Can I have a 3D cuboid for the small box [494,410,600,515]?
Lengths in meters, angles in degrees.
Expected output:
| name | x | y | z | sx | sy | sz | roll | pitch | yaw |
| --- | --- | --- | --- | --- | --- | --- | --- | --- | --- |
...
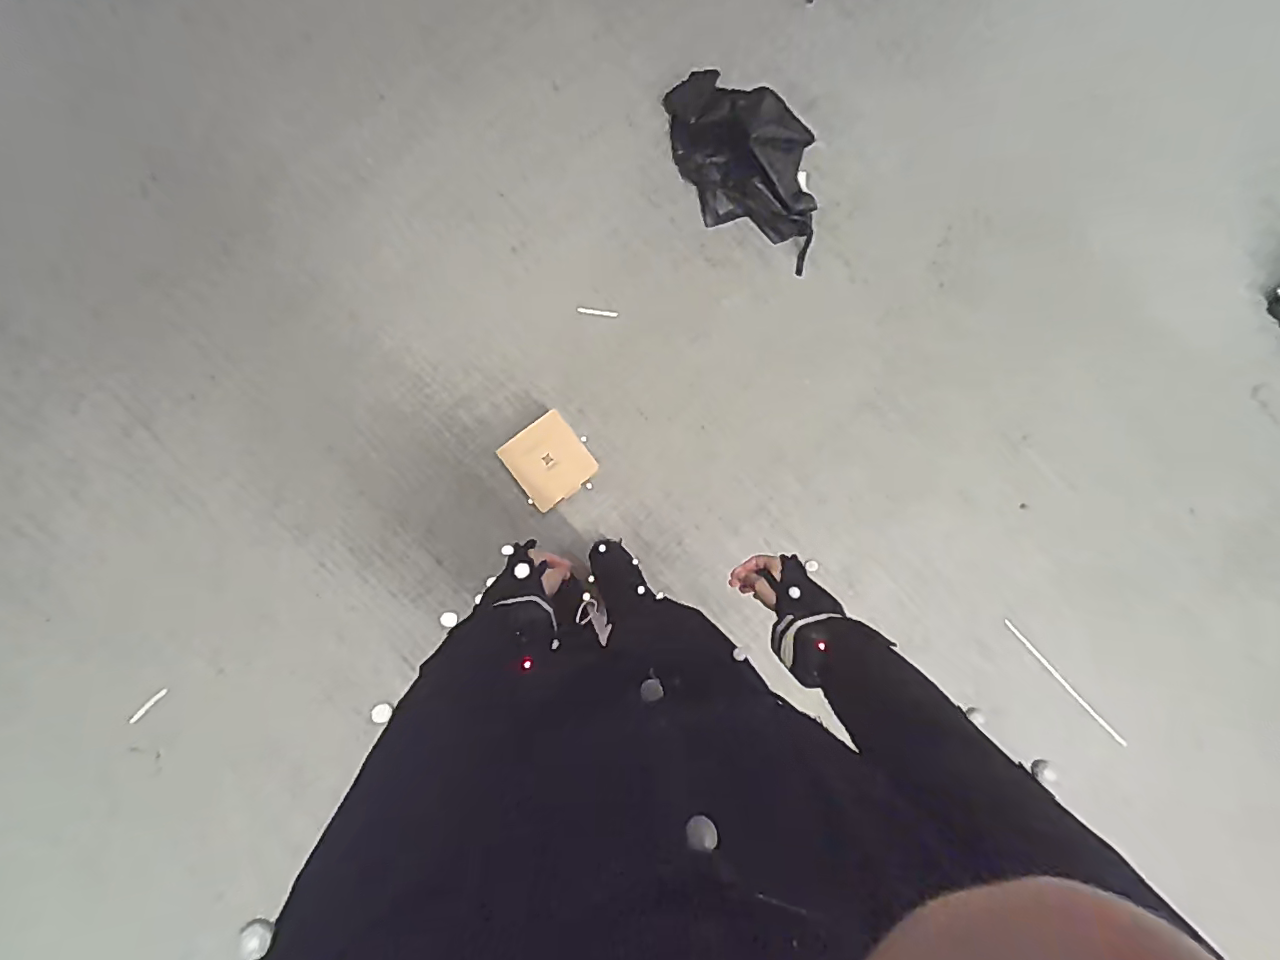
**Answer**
| name | x | y | z | sx | sy | sz | roll | pitch | yaw |
| --- | --- | --- | --- | --- | --- | --- | --- | --- | --- |
| small box | -0.207 | -0.037 | 1.256 | 0.168 | 0.176 | 0.179 | -38 | 91 | -5 |
